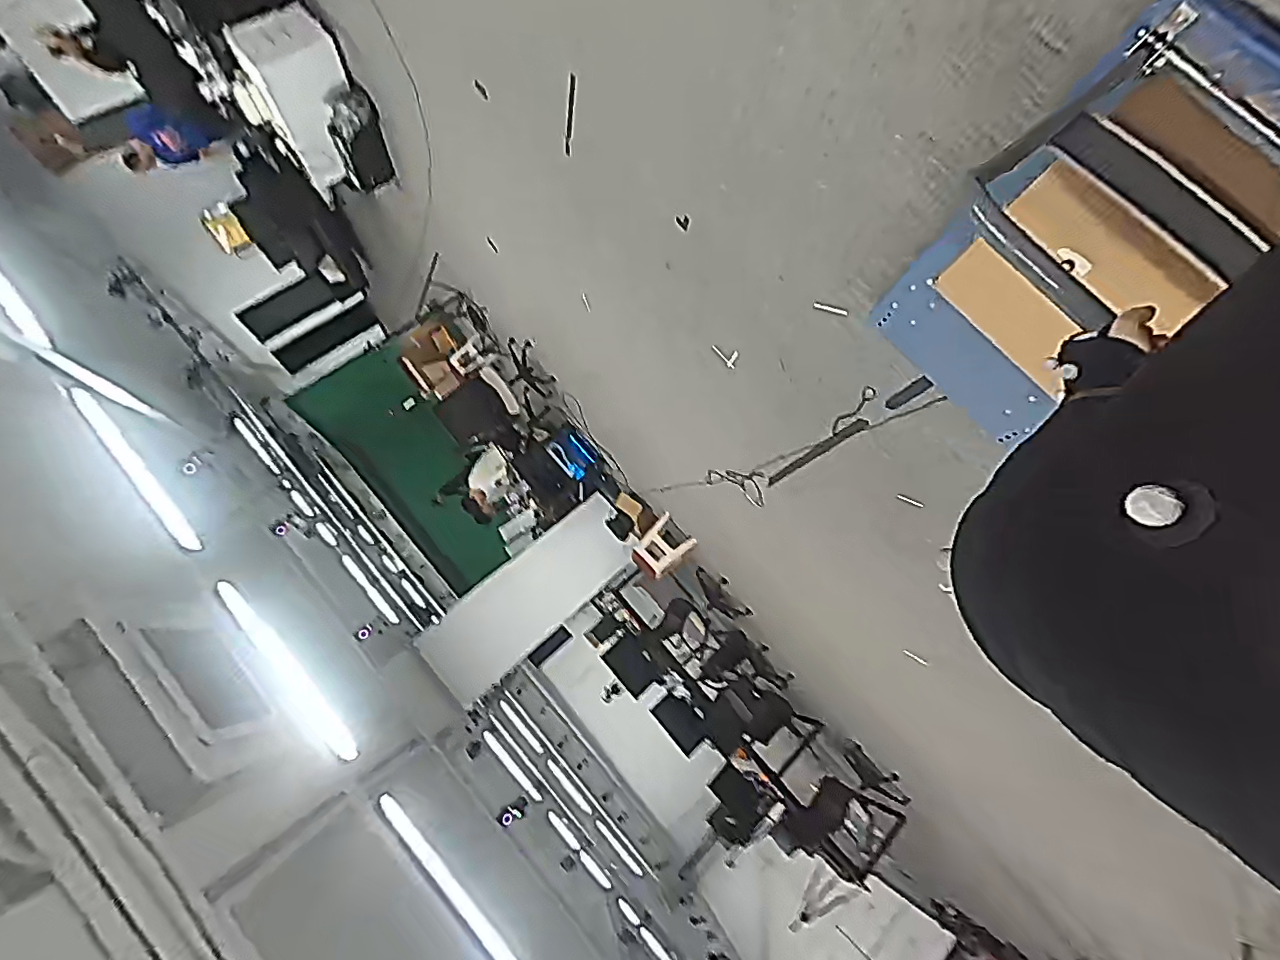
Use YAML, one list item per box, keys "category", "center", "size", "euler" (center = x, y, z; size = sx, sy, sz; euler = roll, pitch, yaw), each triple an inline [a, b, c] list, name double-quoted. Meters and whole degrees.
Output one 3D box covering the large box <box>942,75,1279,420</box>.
- category: "large box"
  center: [0.862, -0.390, 0.953]
  size: [0.408, 0.320, 0.320]
  euler: [49, 162, 8]
